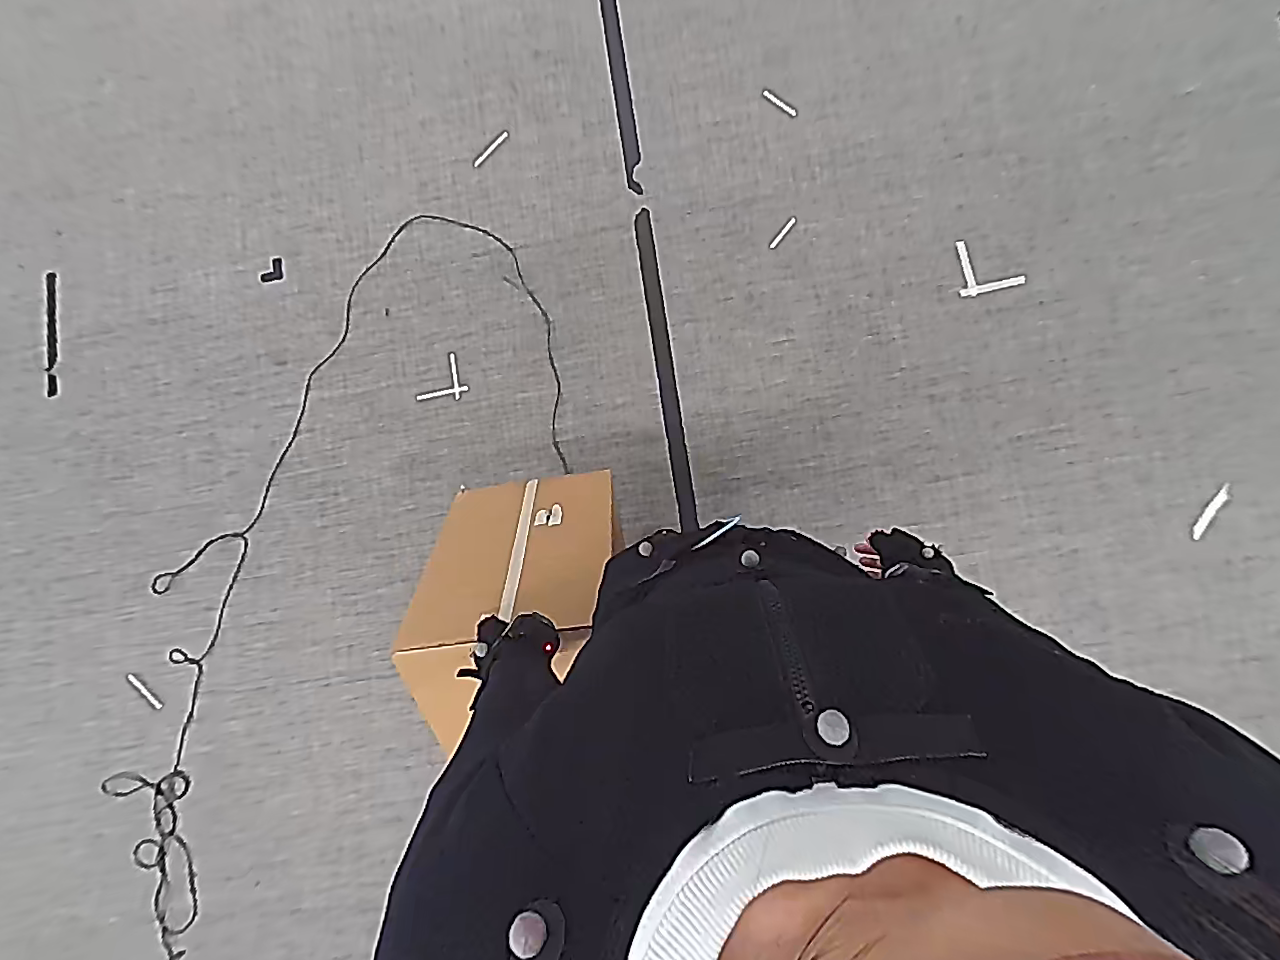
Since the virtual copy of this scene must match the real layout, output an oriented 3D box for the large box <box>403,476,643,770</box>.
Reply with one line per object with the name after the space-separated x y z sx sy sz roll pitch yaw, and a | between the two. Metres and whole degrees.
-0.177 0.242 0.994 0.320 0.408 0.320 -7 122 1 | large box
